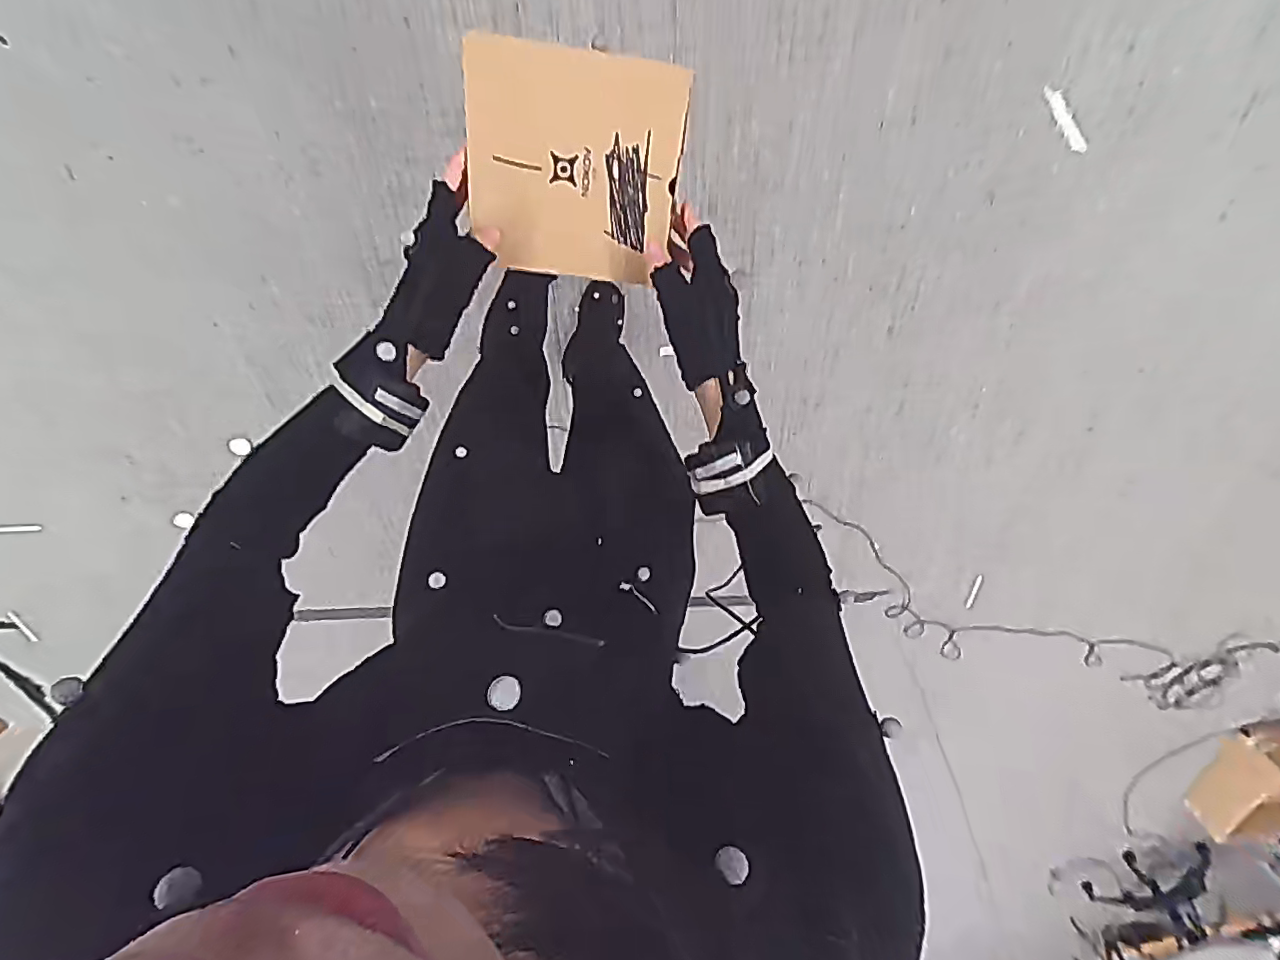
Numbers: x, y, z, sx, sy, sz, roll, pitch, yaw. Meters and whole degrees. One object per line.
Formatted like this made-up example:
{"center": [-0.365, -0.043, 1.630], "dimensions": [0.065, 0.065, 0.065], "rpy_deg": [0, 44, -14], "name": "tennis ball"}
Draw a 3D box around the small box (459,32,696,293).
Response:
{"center": [-0.057, -0.286, 0.502], "dimensions": [0.179, 0.176, 0.168], "rpy_deg": [5, 121, -6], "name": "small box"}
